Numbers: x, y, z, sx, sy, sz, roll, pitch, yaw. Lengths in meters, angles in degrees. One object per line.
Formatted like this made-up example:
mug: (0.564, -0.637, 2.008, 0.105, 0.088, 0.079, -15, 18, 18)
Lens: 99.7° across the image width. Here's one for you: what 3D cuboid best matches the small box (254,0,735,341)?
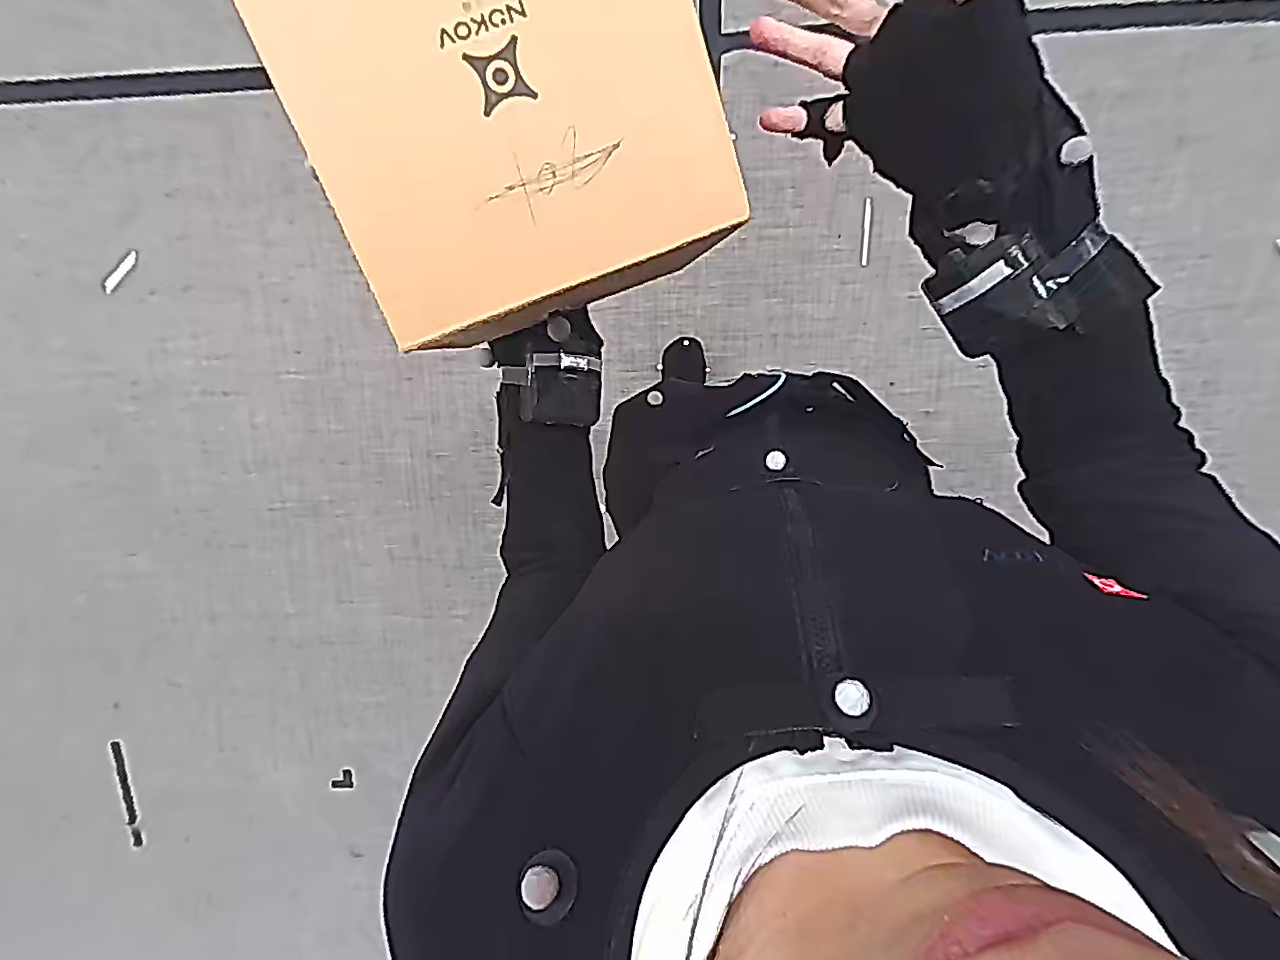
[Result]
small box: (-0.069, -0.188, 0.305, 0.168, 0.176, 0.179, -21, 105, -1)
